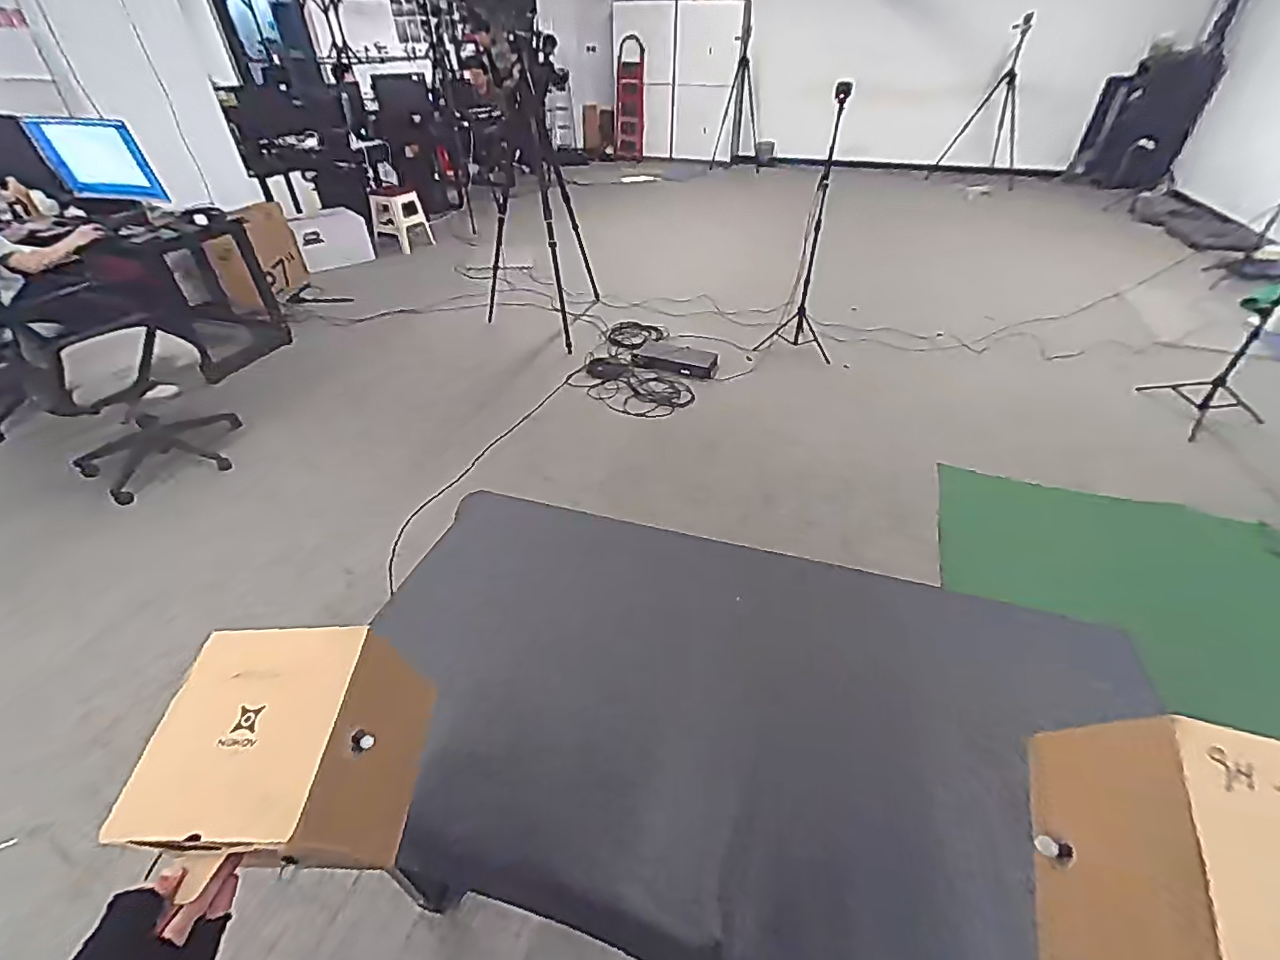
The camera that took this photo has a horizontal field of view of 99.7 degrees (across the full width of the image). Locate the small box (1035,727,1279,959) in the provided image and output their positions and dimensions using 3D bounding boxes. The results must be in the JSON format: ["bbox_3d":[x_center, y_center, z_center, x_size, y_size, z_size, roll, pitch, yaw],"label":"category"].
[{"bbox_3d":[0.403,0.287,0.365,0.168,0.176,0.179,13,63,10],"label":"small box"}]

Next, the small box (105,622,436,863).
[{"bbox_3d":[-0.321,0.255,0.520,0.168,0.176,0.179,-3,49,6],"label":"small box"}]
